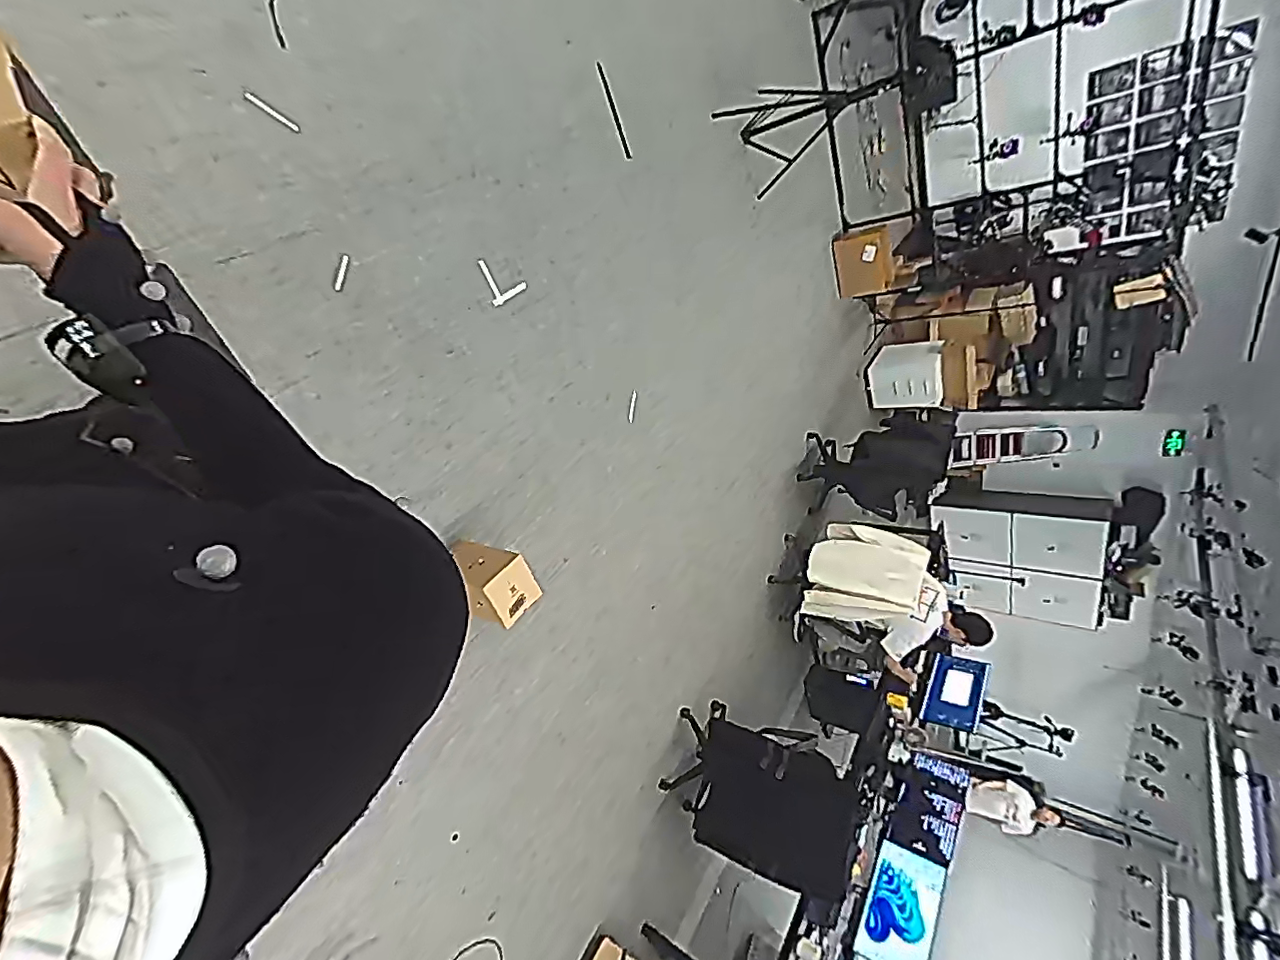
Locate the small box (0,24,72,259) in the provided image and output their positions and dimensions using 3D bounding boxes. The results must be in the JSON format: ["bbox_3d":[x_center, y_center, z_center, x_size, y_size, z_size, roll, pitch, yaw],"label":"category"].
[{"bbox_3d":[-0.603,-0.266,0.420,0.179,0.176,0.168,-26,120,-49],"label":"small box"}]

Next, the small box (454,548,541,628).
[{"bbox_3d":[-0.454,0.336,1.724,0.168,0.176,0.179,-45,125,-38],"label":"small box"}]
